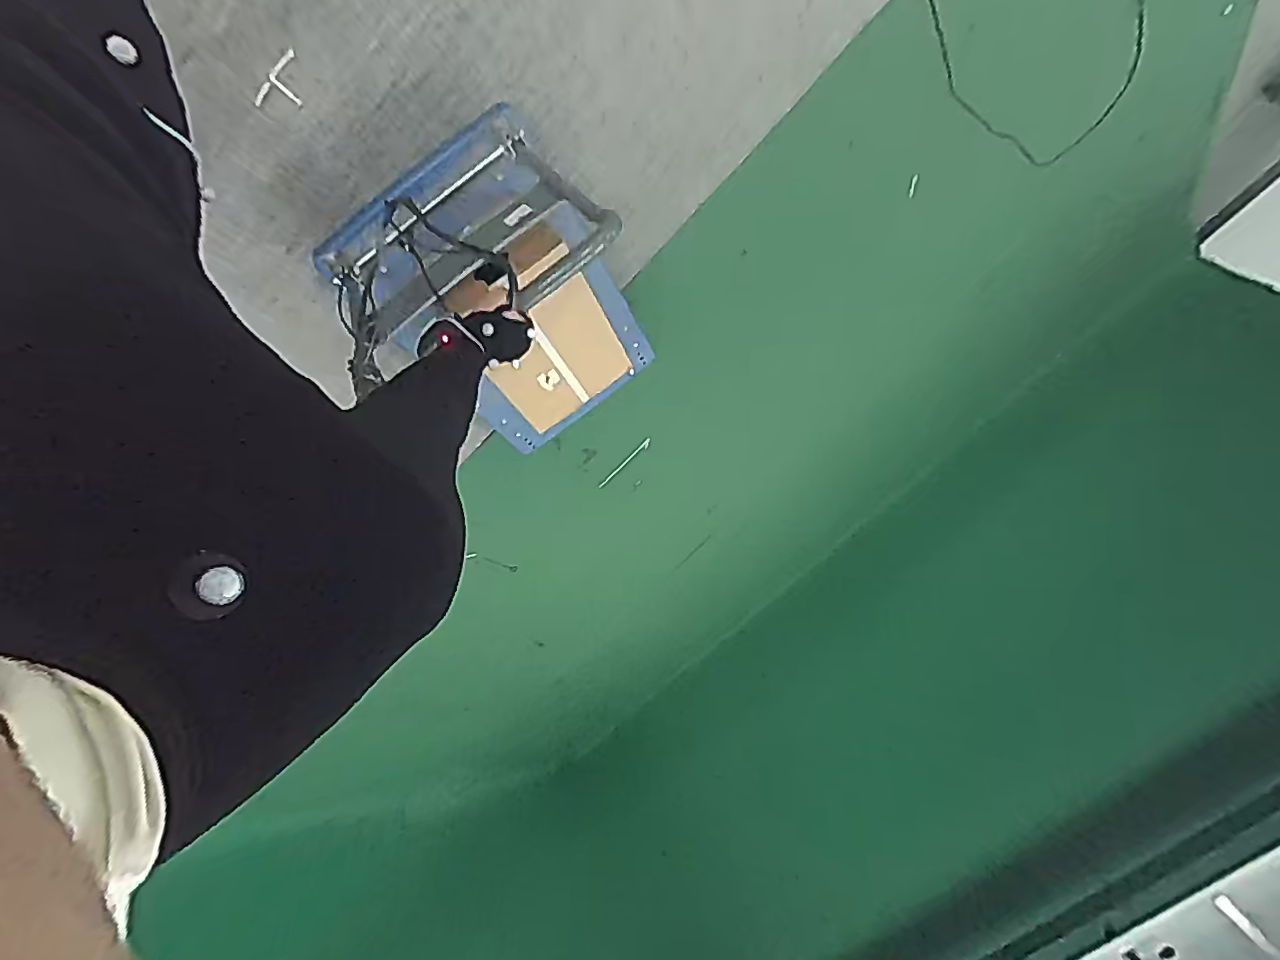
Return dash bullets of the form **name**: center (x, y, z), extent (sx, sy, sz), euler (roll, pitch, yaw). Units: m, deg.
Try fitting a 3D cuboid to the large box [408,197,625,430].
- **large box**: center (-0.304, -0.410, 1.370), extent (0.320, 0.320, 0.408), euler (-35, 144, 0)
